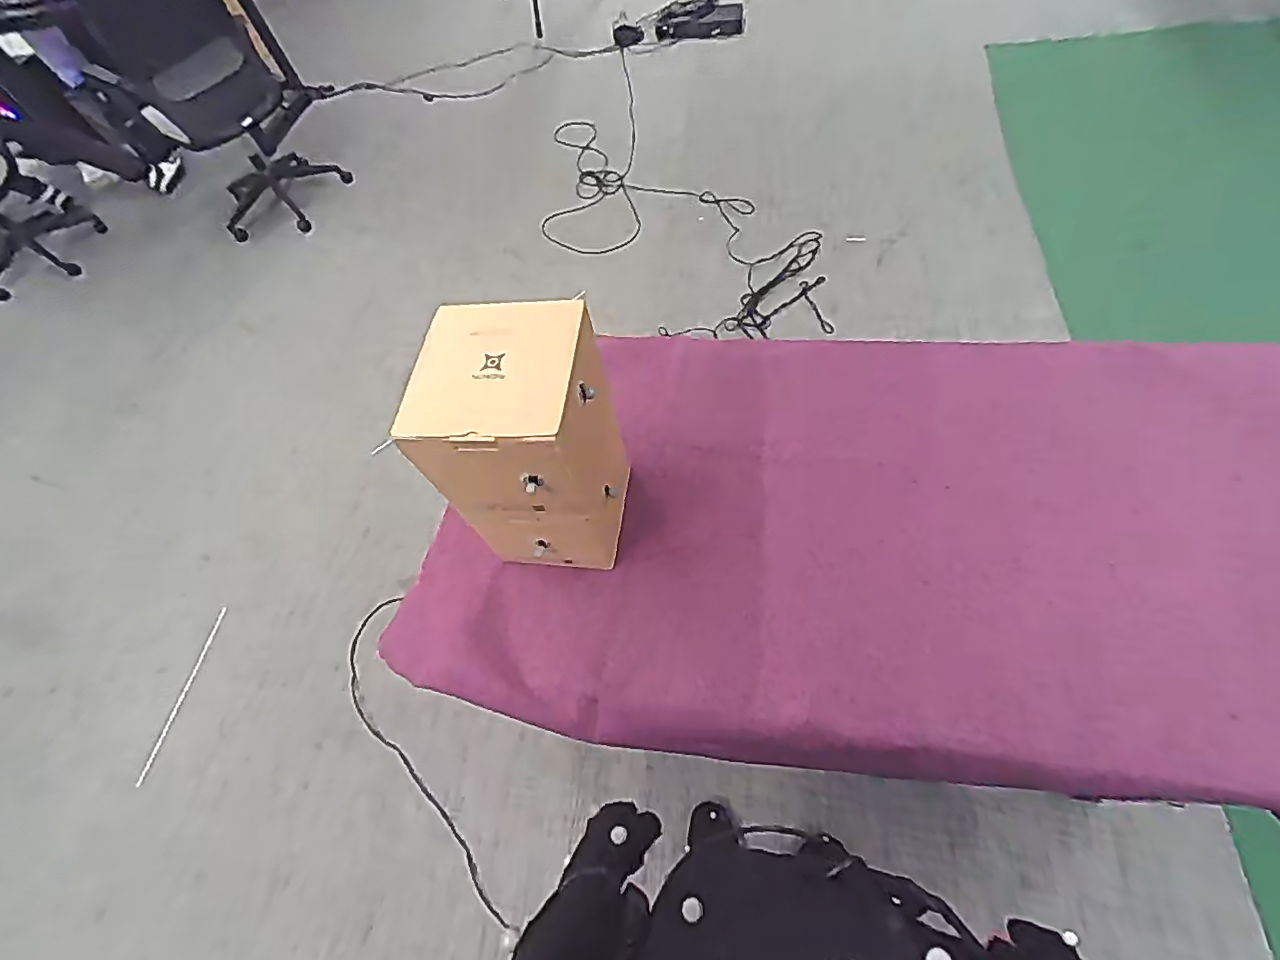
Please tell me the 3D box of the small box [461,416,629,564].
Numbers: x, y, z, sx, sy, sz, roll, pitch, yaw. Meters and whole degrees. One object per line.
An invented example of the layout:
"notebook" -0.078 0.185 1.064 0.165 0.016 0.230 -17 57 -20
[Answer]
"small box" -0.115 0.006 0.744 0.168 0.176 0.179 3 61 11

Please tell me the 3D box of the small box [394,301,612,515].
"small box" -0.132 -0.072 0.601 0.168 0.176 0.179 1 60 10
